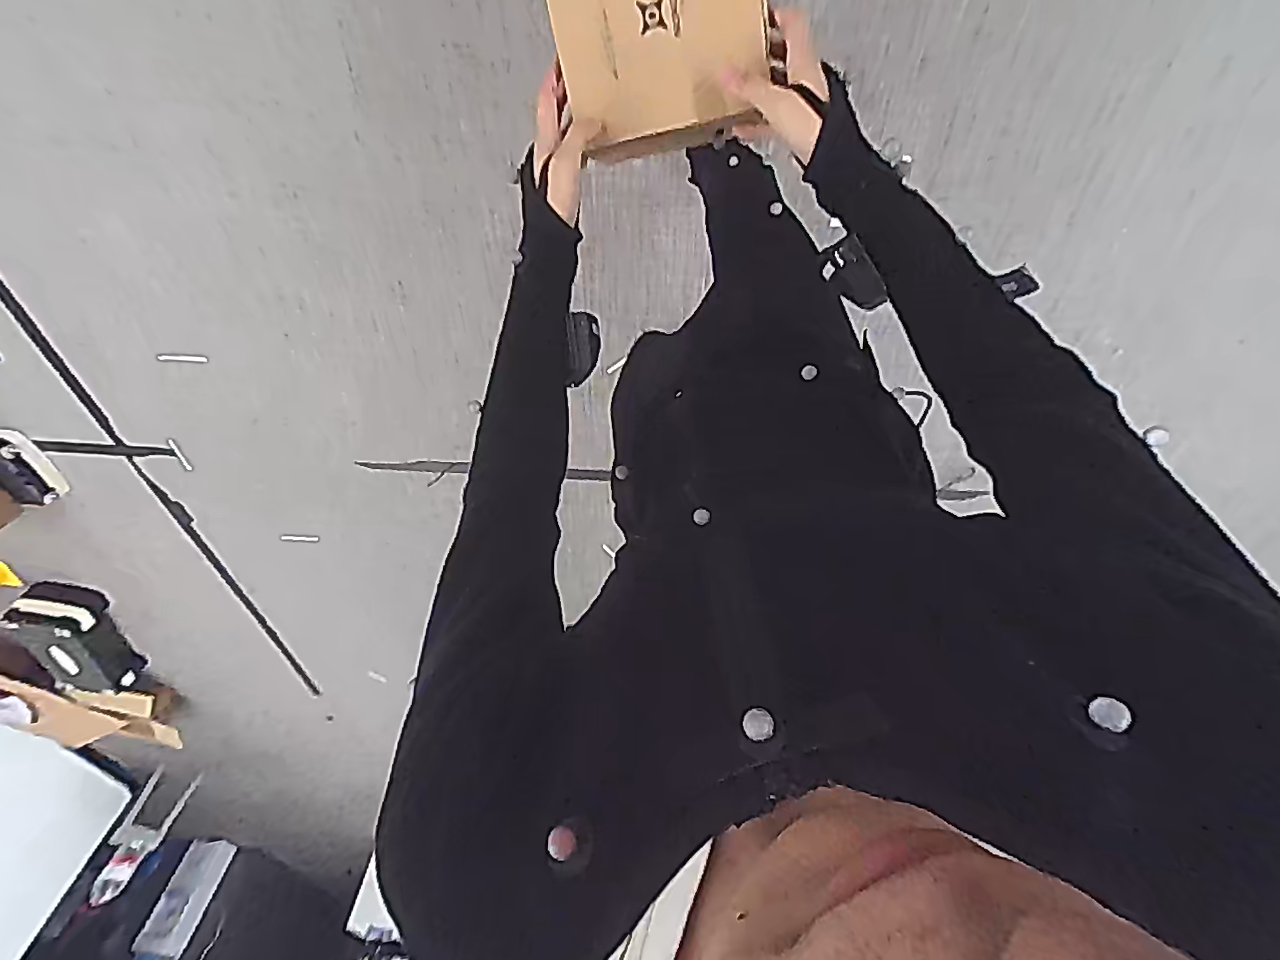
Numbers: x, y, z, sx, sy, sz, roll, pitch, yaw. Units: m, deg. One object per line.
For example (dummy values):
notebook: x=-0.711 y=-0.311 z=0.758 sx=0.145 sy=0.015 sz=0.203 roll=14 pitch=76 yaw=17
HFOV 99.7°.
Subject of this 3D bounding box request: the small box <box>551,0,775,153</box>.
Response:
small box: x=0.018 y=-0.425 z=0.507 sx=0.179 sy=0.176 sz=0.168 roll=-9 pitch=115 yaw=8
